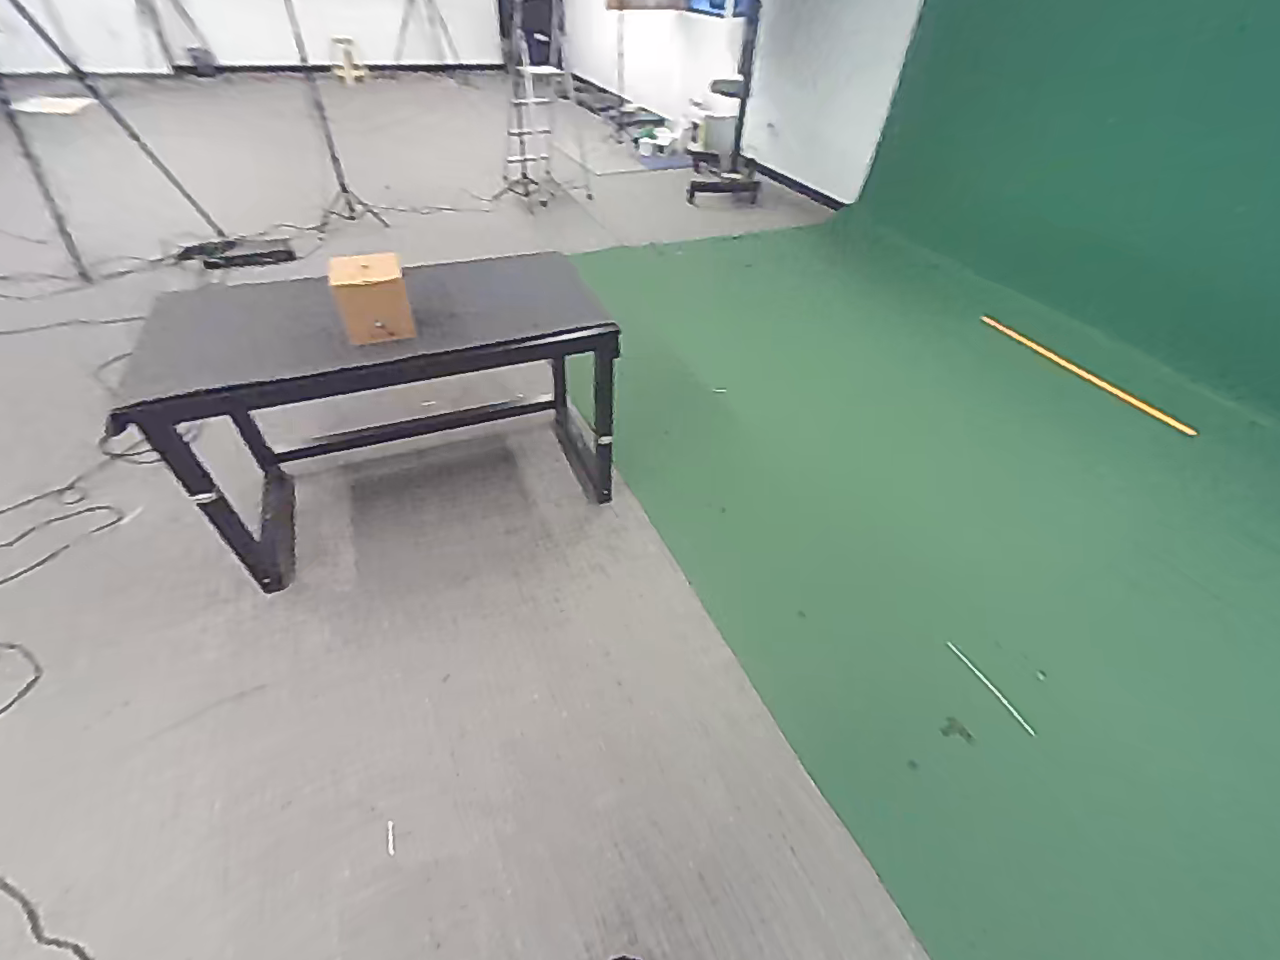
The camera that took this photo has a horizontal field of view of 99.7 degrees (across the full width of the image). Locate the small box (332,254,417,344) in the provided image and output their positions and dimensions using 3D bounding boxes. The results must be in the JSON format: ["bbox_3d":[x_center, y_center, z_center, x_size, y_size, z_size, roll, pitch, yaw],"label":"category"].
[{"bbox_3d":[-0.708,-0.484,1.447,0.168,0.176,0.179,-14,46,-18],"label":"small box"}]
